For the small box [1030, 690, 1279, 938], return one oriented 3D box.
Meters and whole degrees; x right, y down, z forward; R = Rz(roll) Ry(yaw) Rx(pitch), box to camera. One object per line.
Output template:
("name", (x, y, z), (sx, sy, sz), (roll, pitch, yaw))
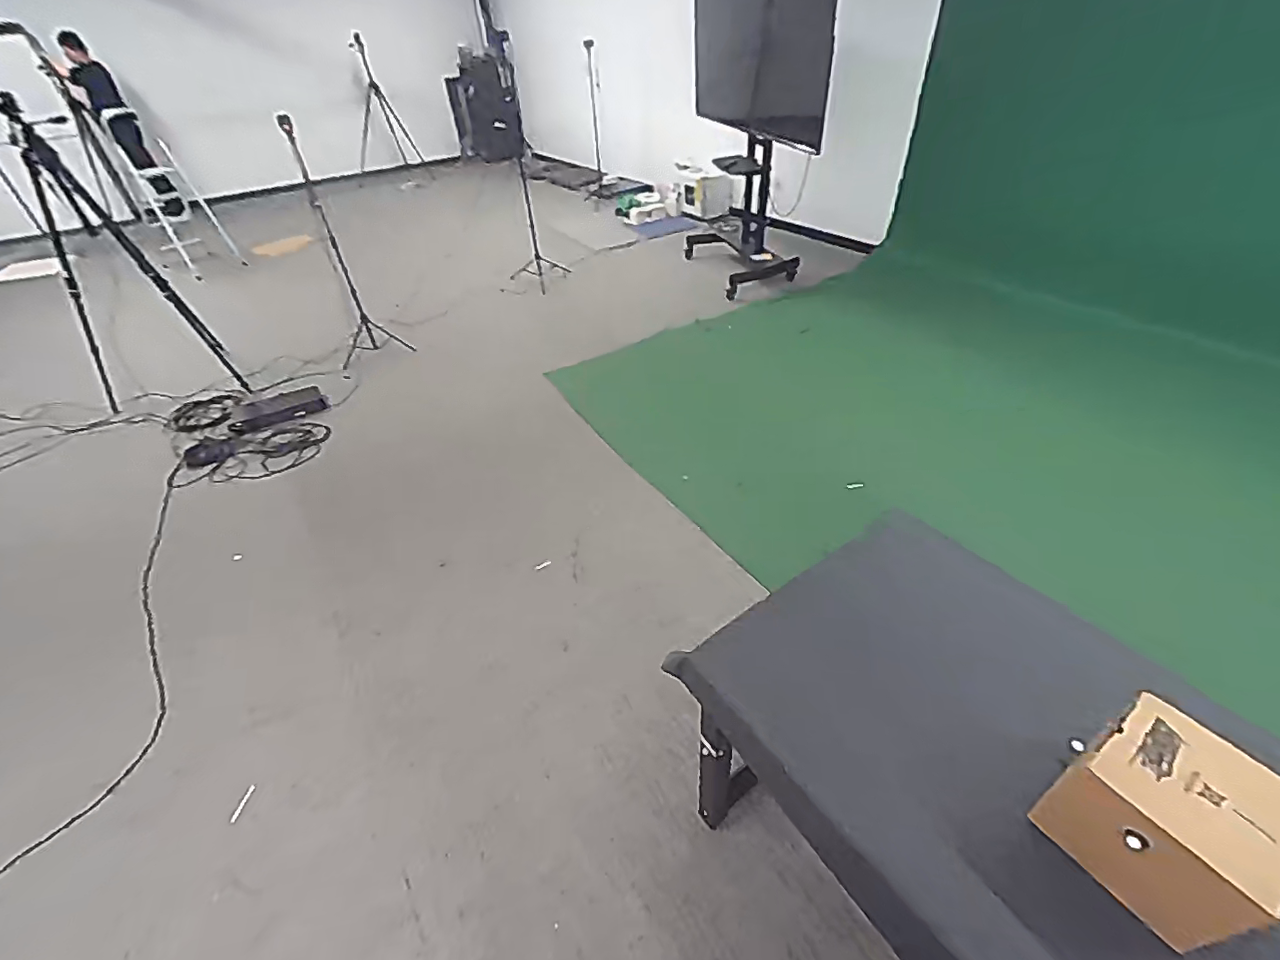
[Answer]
("small box", (0.631, 0.404, 0.660), (0.168, 0.176, 0.179), (-26, 46, -23))
